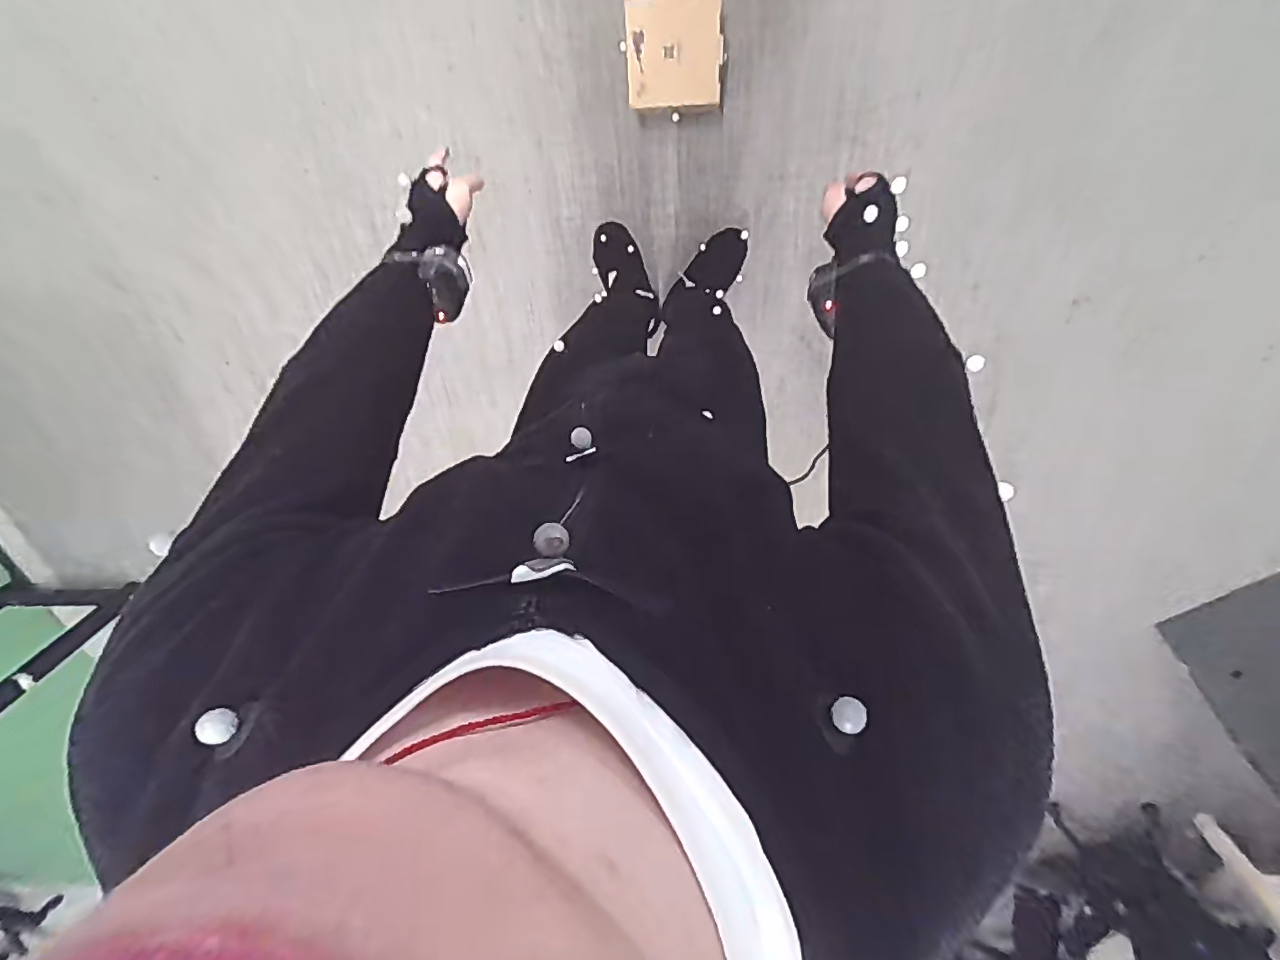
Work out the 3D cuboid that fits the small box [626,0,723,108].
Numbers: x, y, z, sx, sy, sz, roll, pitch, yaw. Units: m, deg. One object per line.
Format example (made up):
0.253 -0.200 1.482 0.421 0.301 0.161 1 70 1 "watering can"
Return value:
0.066 -0.841 1.067 0.179 0.176 0.168 0 121 4 "small box"
